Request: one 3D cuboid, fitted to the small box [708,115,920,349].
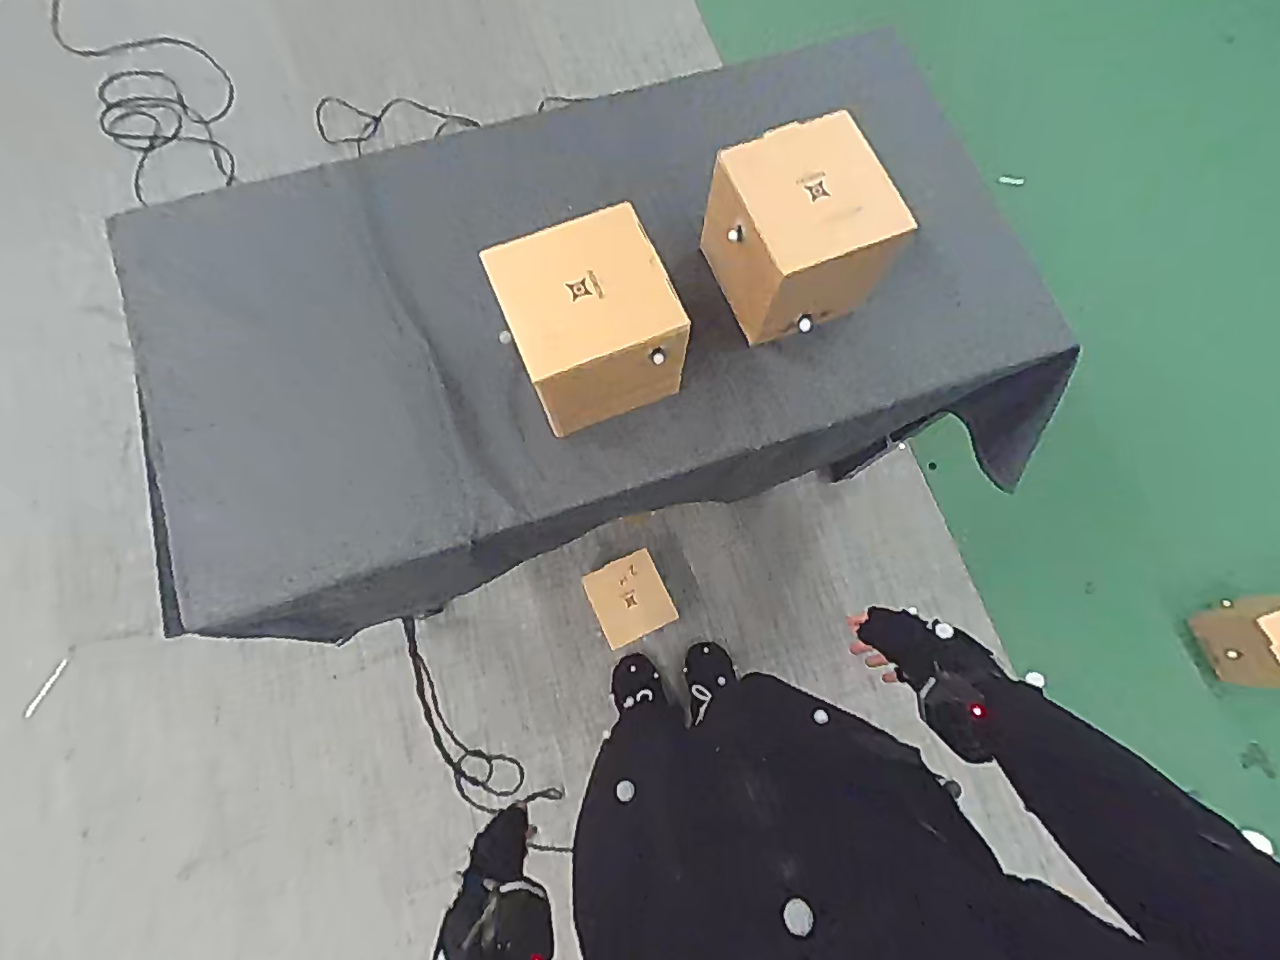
[{"bbox_3d":[0.195,-0.294,0.669,0.168,0.176,0.179,-20,77,-5],"label":"small box"}]

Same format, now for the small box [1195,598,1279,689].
[{"bbox_3d":[1.479,0.383,1.269,0.179,0.176,0.168,-19,77,-5],"label":"small box"}]

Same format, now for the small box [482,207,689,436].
[{"bbox_3d":[-0.058,-0.172,0.634,0.179,0.176,0.168,-22,77,-7],"label":"small box"}]

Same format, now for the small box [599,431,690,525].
[{"bbox_3d":[0.009,0.001,1.338,0.179,0.176,0.168,-20,77,-5],"label":"small box"}]
